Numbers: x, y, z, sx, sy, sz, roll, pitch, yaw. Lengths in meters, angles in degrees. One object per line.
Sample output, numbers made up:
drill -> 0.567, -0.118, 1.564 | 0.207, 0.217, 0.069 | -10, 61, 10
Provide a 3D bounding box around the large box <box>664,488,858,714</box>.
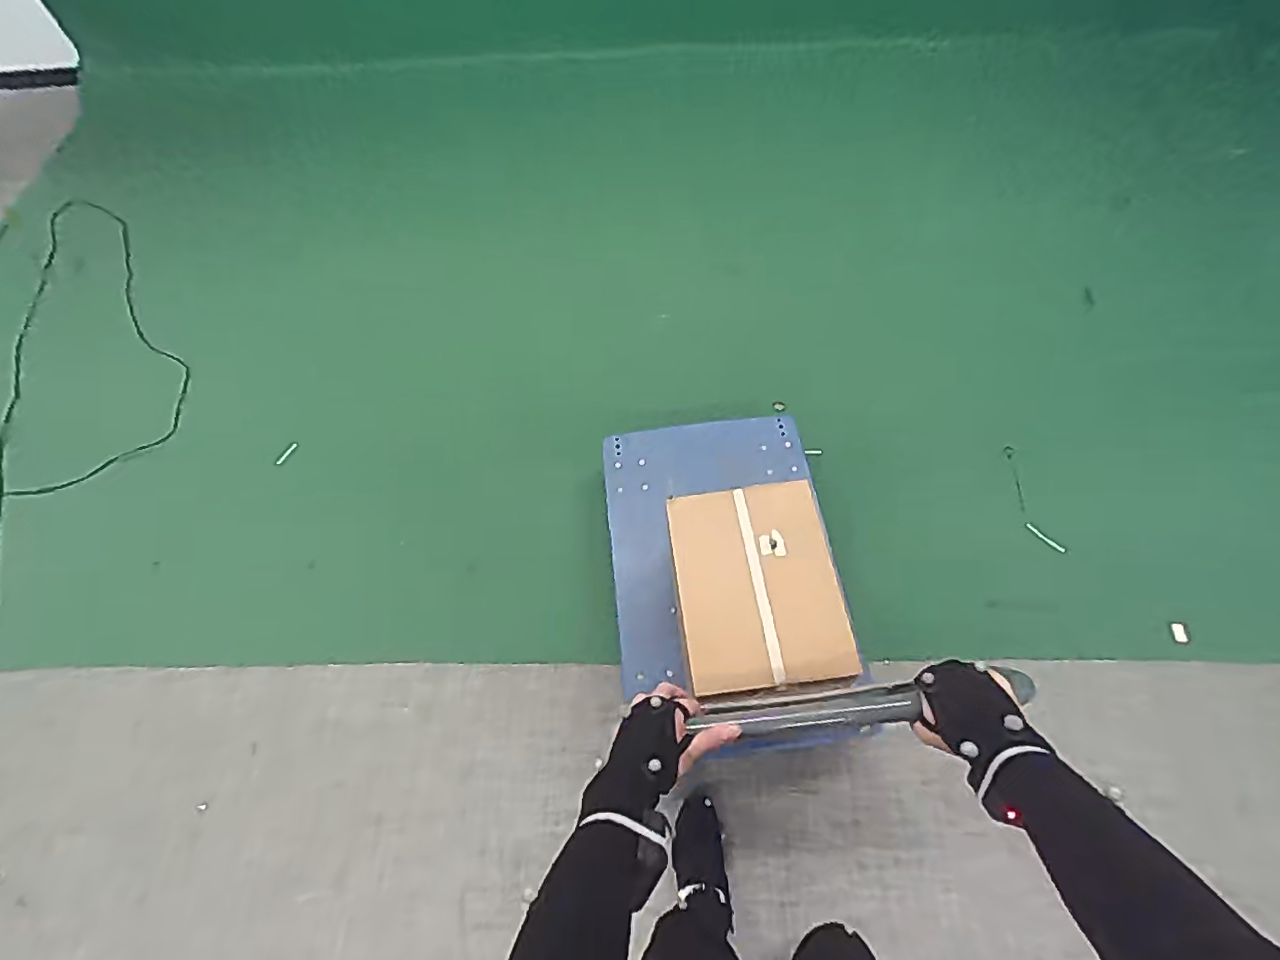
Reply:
large box -> 0.240, 0.280, 1.219 | 0.320, 0.320, 0.408 | -7, 61, 0
